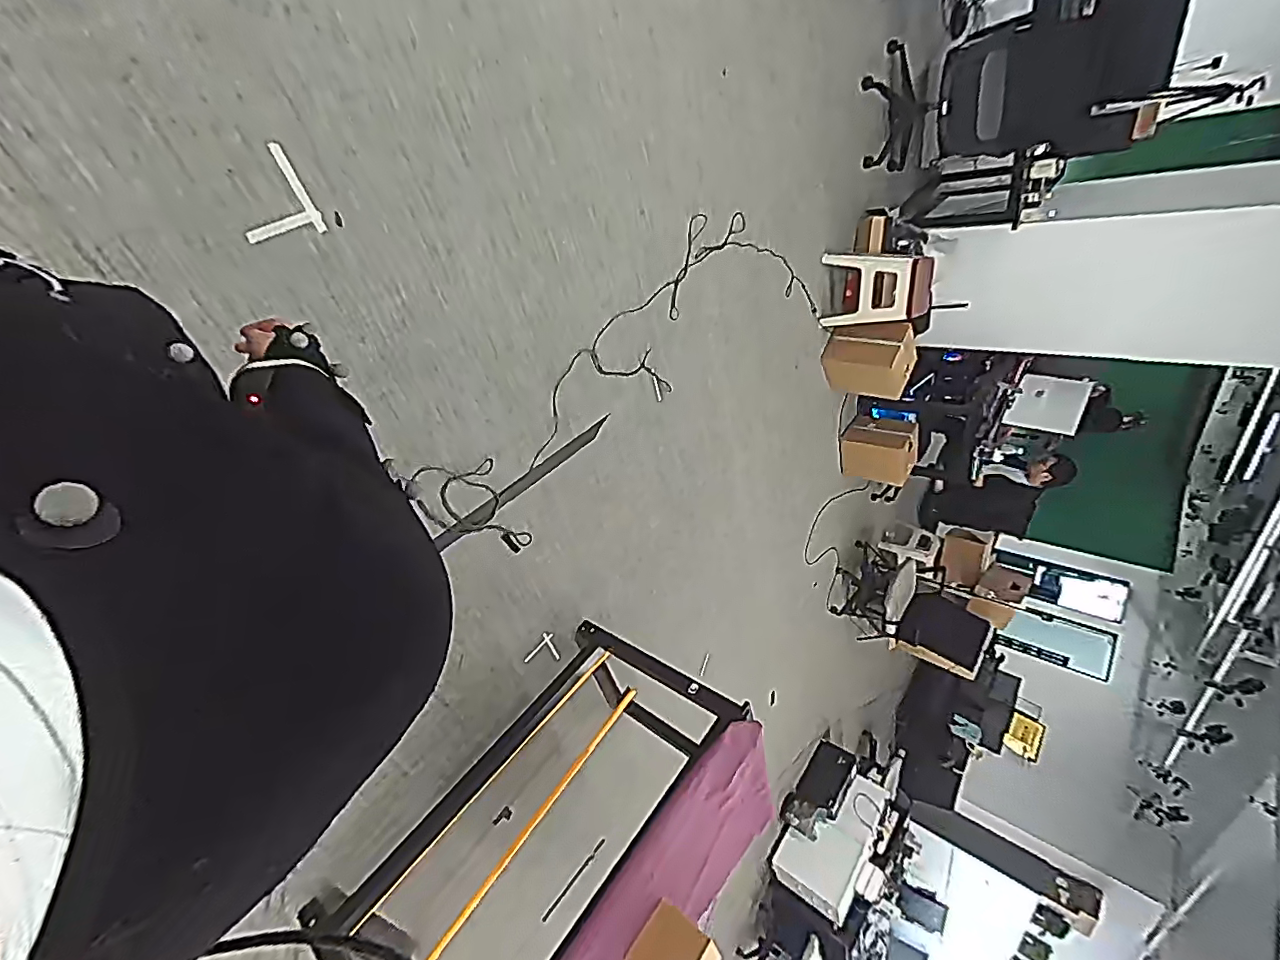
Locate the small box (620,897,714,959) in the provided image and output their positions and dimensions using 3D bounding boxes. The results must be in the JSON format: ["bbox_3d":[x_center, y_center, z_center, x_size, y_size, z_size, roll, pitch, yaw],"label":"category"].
[{"bbox_3d":[0.074,1.281,1.454,0.179,0.176,0.168,-41,131,-33],"label":"small box"}]
